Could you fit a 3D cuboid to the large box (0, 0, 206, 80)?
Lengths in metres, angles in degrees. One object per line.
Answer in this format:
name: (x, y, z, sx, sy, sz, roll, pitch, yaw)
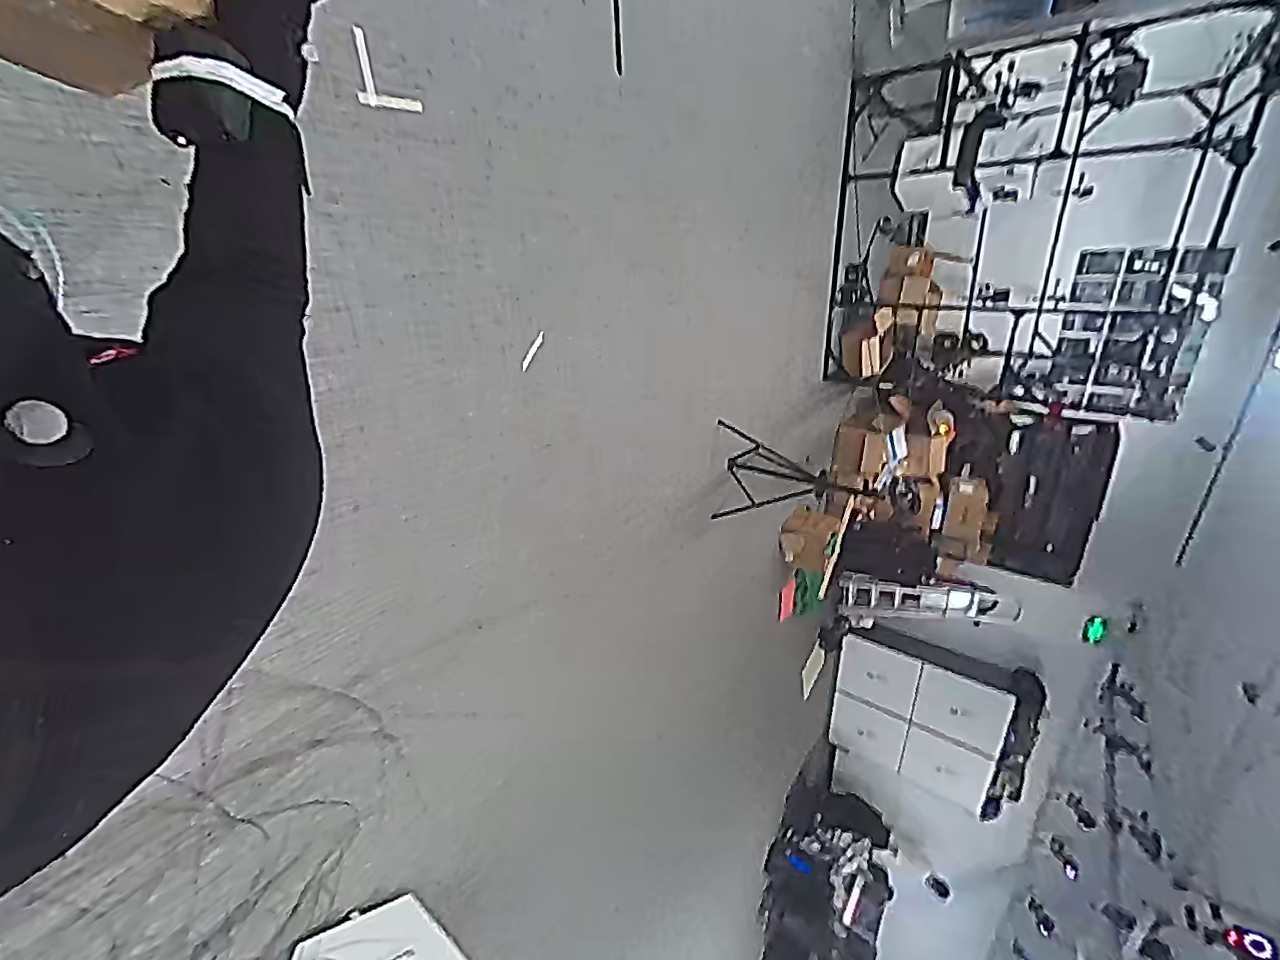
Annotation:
large box: (-0.526, -0.498, 0.286, 0.408, 0.320, 0.320, -5, 112, -56)
